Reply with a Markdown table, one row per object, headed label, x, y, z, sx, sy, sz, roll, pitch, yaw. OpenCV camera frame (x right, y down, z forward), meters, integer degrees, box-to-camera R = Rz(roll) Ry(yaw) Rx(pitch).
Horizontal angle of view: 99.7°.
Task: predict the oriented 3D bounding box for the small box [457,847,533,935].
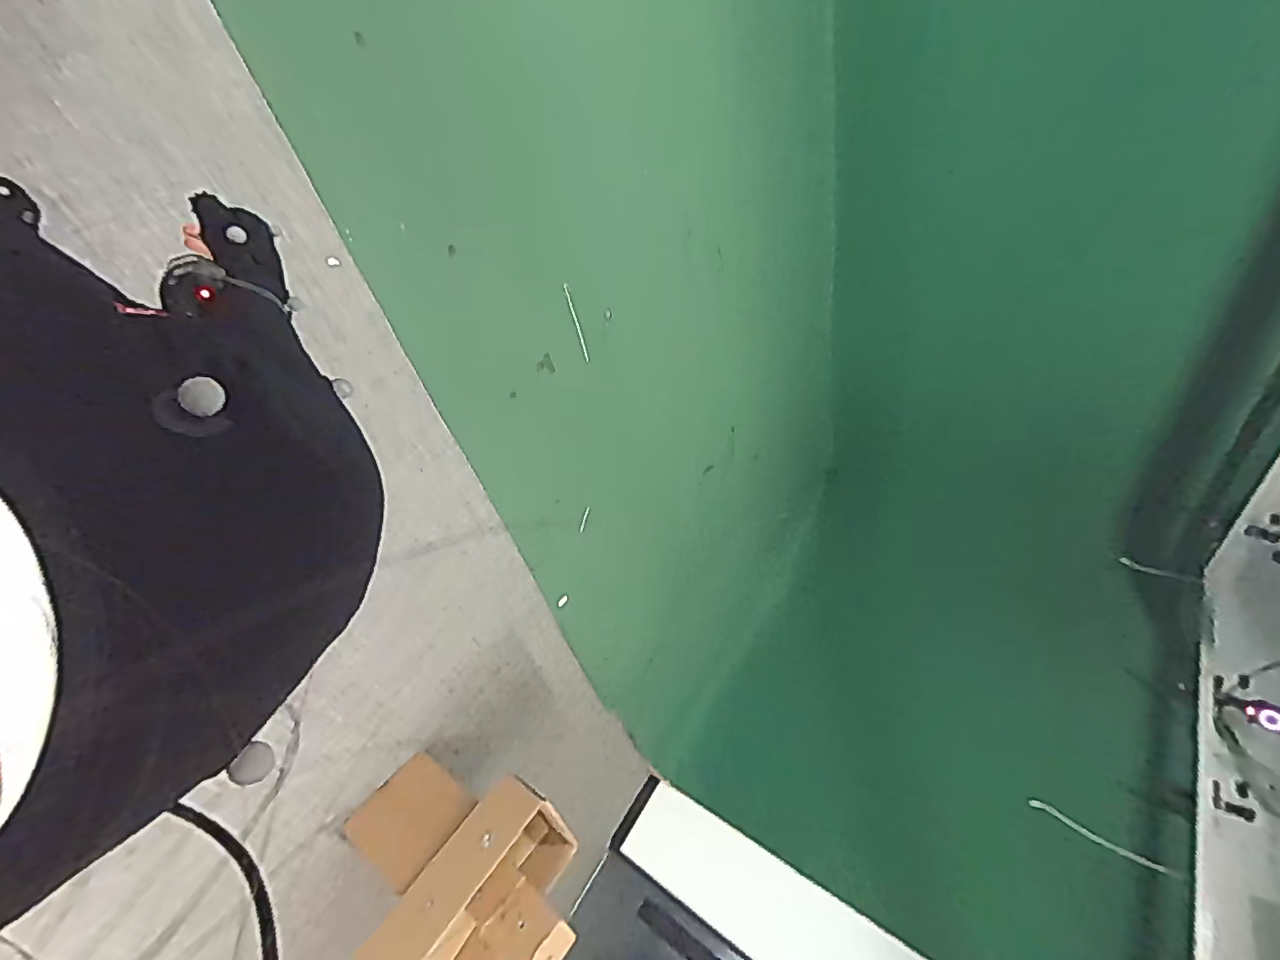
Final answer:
| label | x | y | z | sx | sy | sz | roll | pitch | yaw |
| --- | --- | --- | --- | --- | --- | --- | --- | --- | --- |
| small box | -0.436 | 1.288 | 1.676 | 0.168 | 0.176 | 0.179 | -41 | 136 | -34 |

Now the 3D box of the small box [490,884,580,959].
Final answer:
| label | x | y | z | sx | sy | sz | roll | pitch | yaw |
| --- | --- | --- | --- | --- | --- | --- | --- | --- | --- |
| small box | -0.309 | 1.339 | 1.585 | 0.168 | 0.176 | 0.179 | -41 | 133 | -33 |
